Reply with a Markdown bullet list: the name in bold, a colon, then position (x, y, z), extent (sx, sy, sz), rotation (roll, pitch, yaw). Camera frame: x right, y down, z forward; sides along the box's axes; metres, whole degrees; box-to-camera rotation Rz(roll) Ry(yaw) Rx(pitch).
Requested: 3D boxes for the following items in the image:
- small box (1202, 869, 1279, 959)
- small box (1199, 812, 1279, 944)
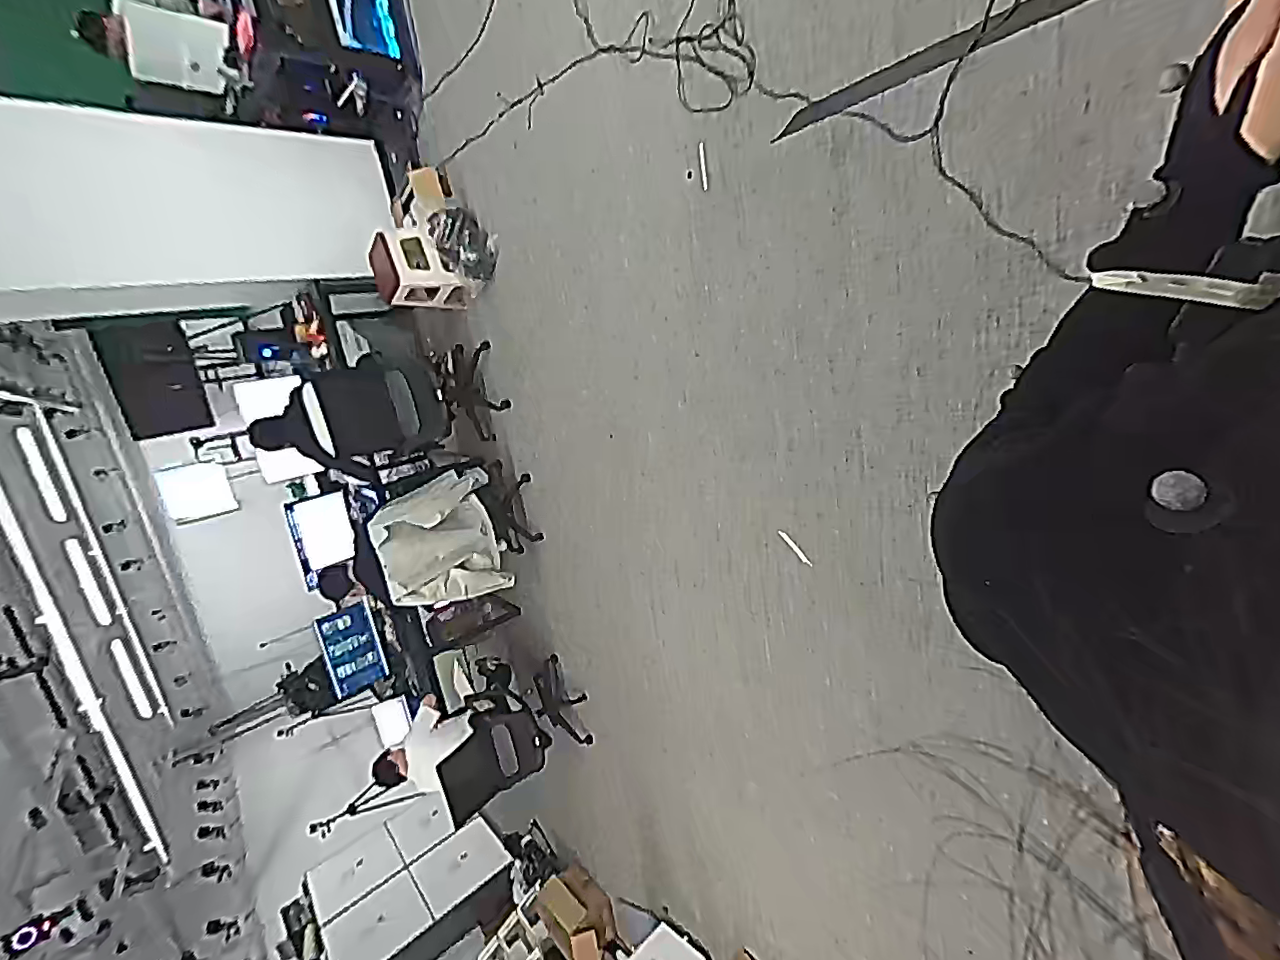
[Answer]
- **small box**: position (0.937, 0.730, 0.782), extent (0.168, 0.176, 0.179), rotation (6, 109, 49)
- **small box**: position (1.056, 0.695, 0.886), extent (0.179, 0.176, 0.168), rotation (6, 109, 51)
